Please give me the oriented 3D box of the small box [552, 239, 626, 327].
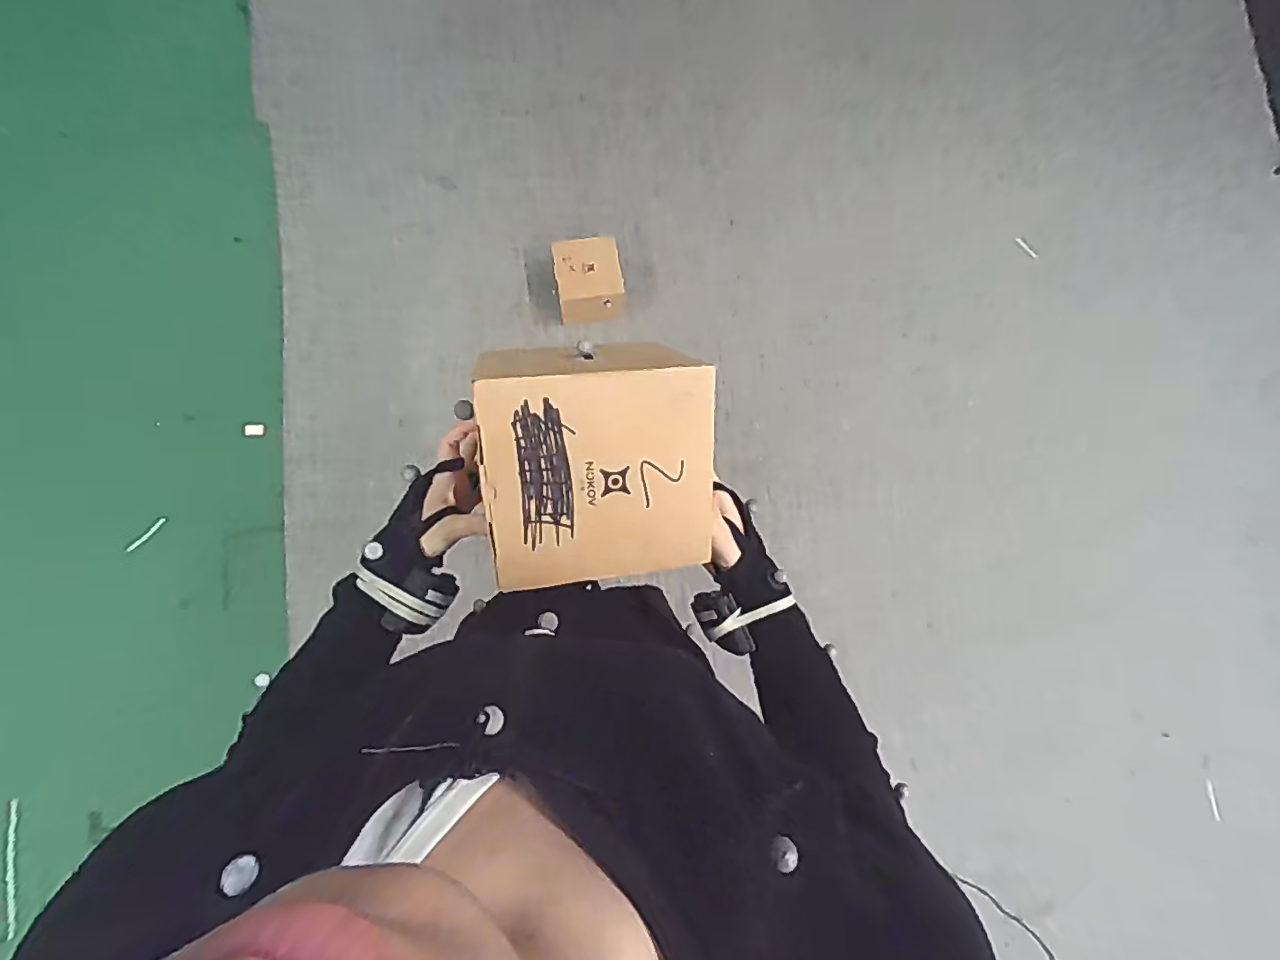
[{"bbox_3d":[-0.143,-0.546,1.514,0.179,0.176,0.168,-10,84,-6],"label":"small box"}]
